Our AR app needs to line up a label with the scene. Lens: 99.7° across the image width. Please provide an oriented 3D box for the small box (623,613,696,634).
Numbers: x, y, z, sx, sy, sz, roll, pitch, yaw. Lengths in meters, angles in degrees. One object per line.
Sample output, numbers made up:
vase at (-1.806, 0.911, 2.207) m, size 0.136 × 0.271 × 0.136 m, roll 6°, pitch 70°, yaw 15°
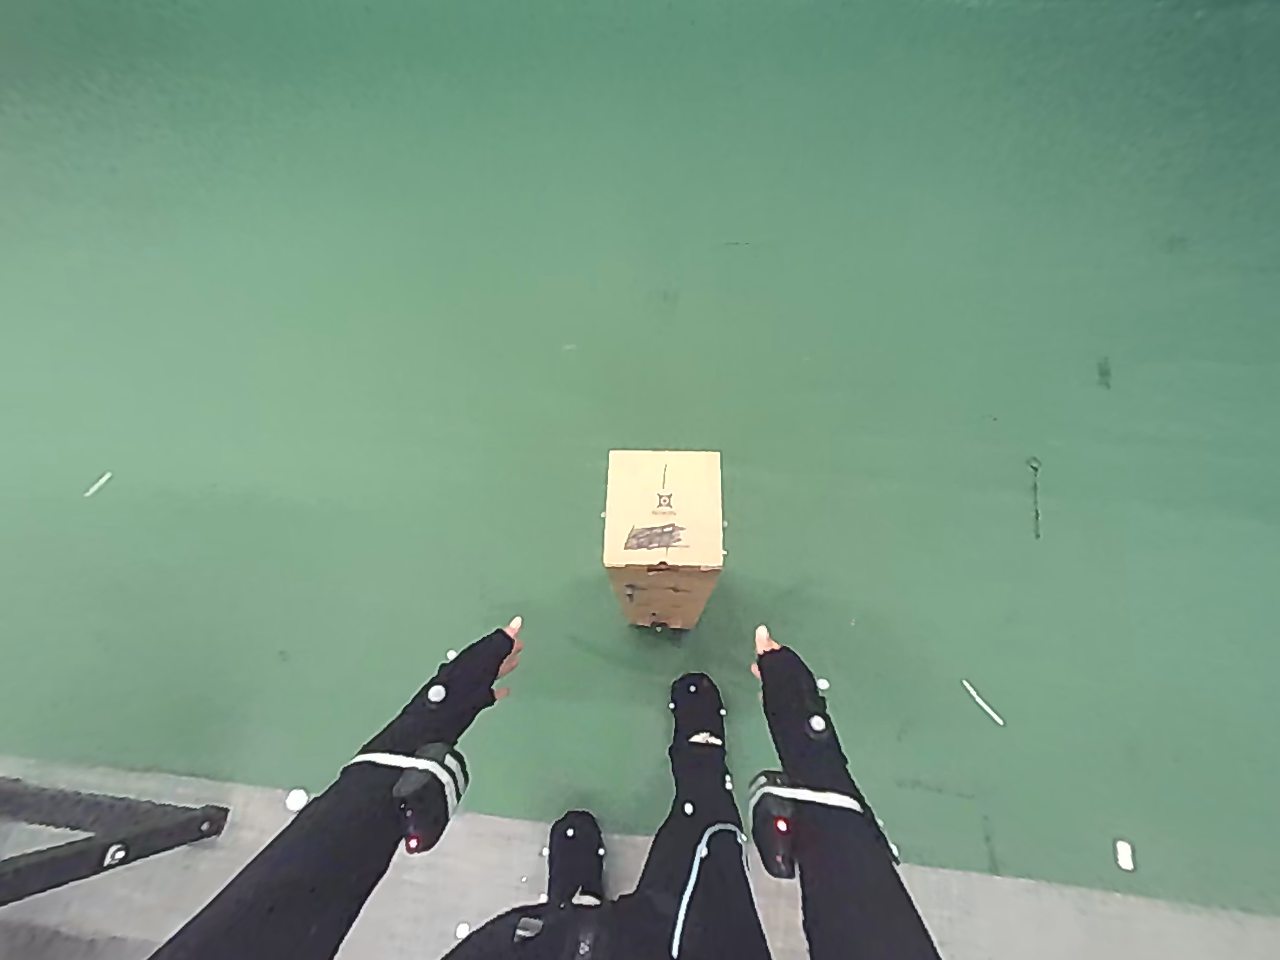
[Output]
small box at (0.051, 0.264, 1.297) m, size 0.168 × 0.176 × 0.179 m, roll 4°, pitch 68°, yaw 4°

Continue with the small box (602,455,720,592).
small box at (0.035, 0.075, 0.844) m, size 0.168 × 0.176 × 0.179 m, roll 1°, pitch 67°, yaw 2°

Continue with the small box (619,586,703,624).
small box at (0.045, 0.202, 1.147) m, size 0.168 × 0.176 × 0.179 m, roll 2°, pitch 69°, yaw 2°
